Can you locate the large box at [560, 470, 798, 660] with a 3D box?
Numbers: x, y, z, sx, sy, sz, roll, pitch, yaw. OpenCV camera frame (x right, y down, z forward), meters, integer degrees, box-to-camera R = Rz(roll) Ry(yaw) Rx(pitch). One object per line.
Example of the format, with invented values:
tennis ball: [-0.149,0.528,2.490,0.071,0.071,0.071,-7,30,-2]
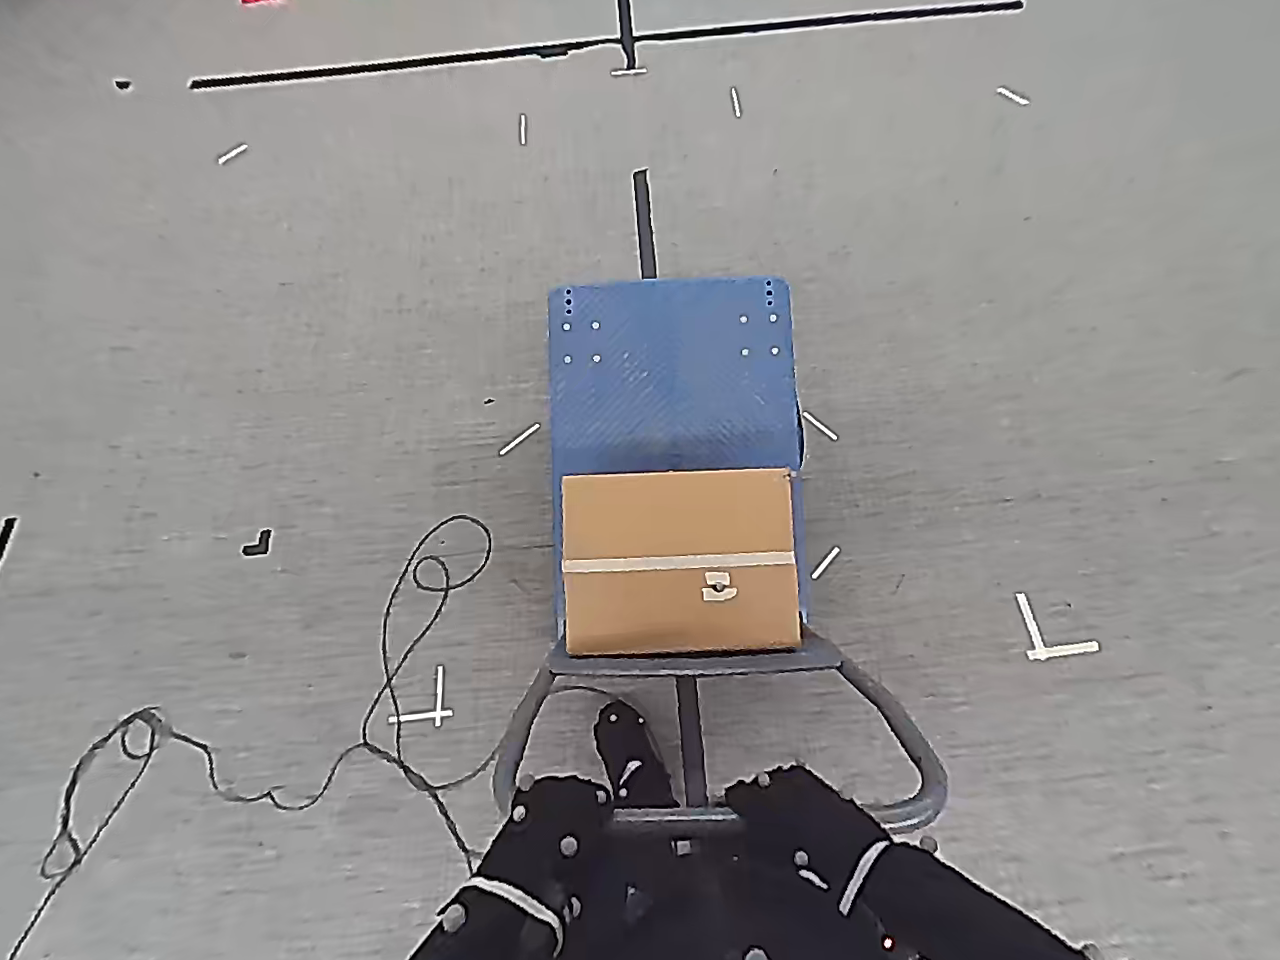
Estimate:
large box: [0.065,0.158,1.085,0.408,0.320,0.320,-2,86,0]
